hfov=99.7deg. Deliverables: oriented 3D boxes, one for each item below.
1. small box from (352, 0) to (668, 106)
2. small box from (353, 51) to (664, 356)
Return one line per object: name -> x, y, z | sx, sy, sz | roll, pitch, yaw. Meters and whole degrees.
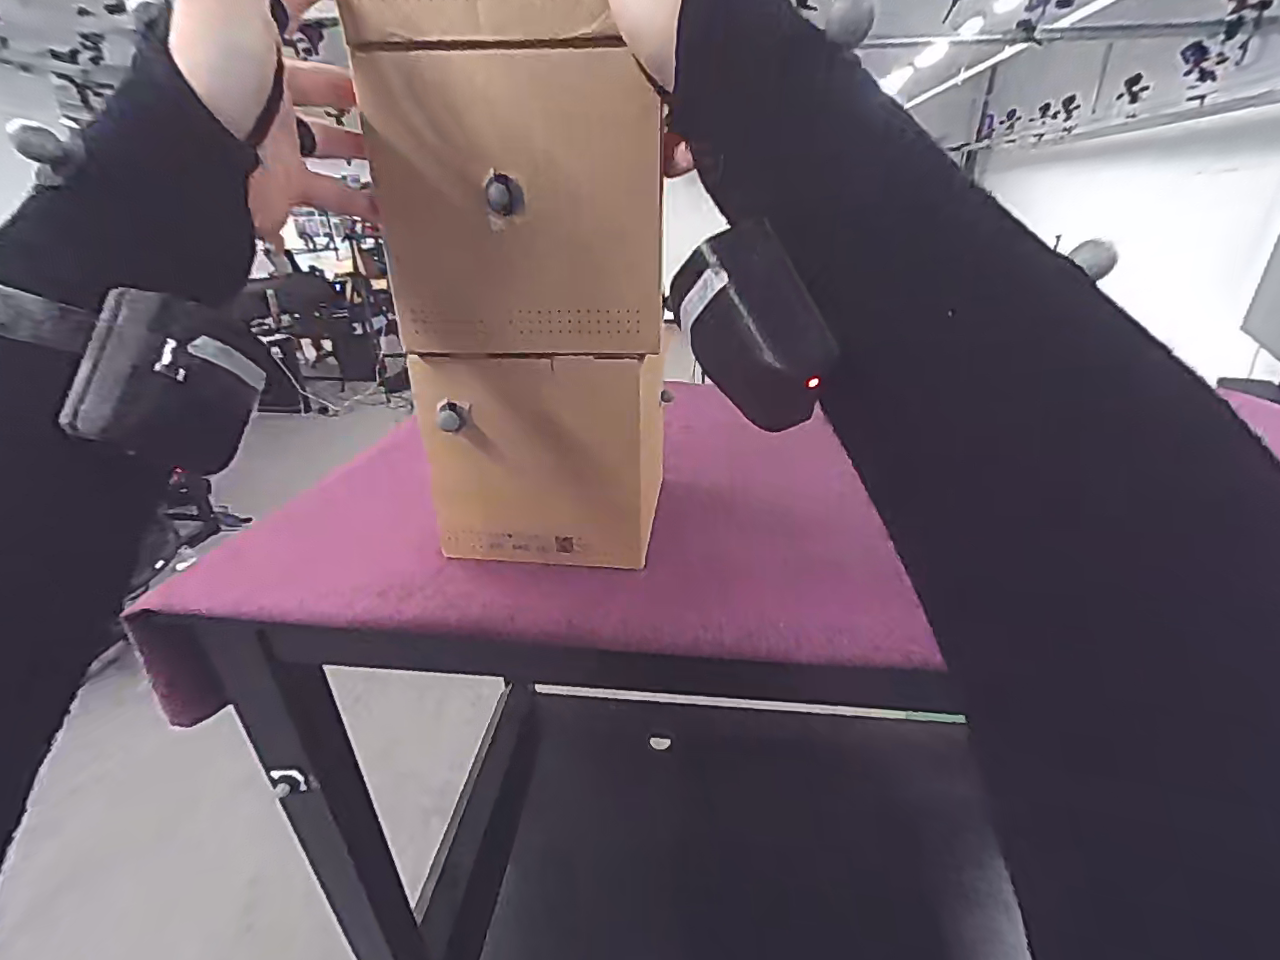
small box -> -0.072, -0.341, 0.337 | 0.179, 0.176, 0.168 | 1, 25, 3
small box -> -0.071, -0.193, 0.406 | 0.179, 0.176, 0.168 | 0, 25, 3
